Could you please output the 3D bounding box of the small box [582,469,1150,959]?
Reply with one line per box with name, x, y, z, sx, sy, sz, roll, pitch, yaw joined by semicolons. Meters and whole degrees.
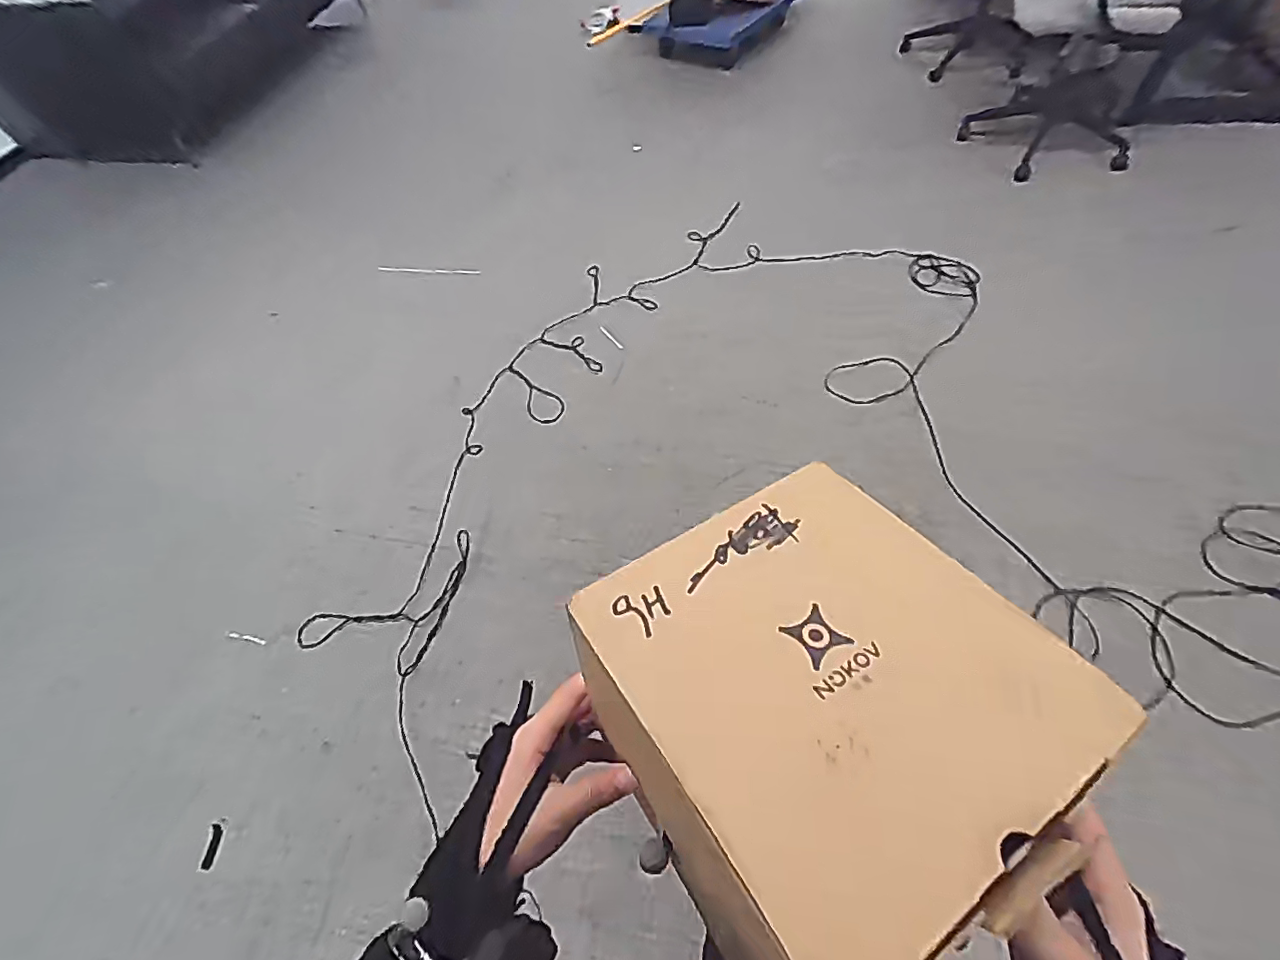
small box;0.088;0.132;0.290;0.168;0.176;0.179;-25;50;-20
